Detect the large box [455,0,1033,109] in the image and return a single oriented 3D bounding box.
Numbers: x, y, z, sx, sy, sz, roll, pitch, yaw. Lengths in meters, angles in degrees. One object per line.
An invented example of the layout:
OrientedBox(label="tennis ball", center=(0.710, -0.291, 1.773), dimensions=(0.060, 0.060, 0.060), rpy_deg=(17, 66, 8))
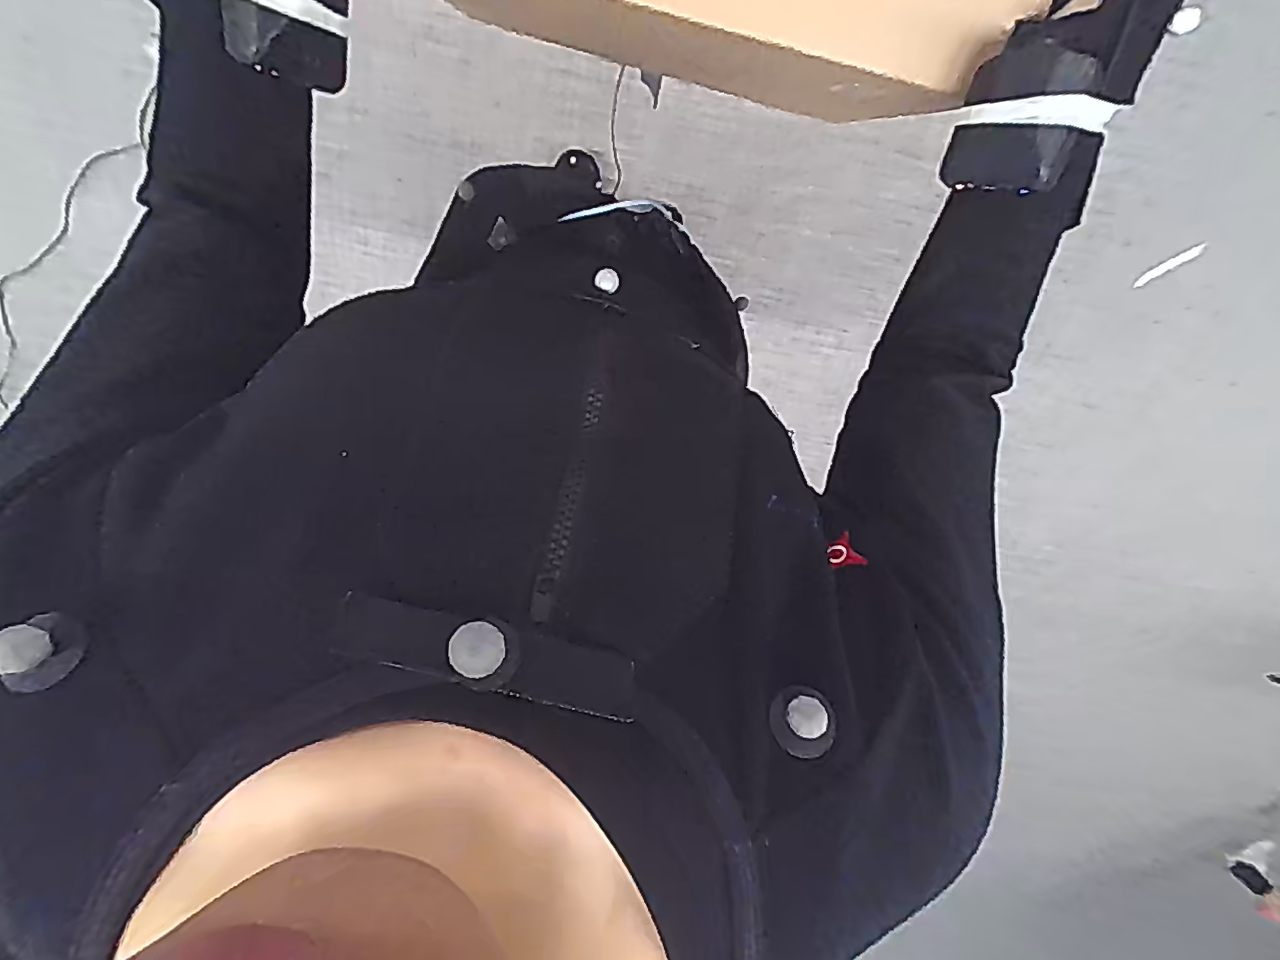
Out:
OrientedBox(label="large box", center=(0.053, -0.479, 0.358), dimensions=(0.408, 0.320, 0.320), rpy_deg=(10, 123, -7))
